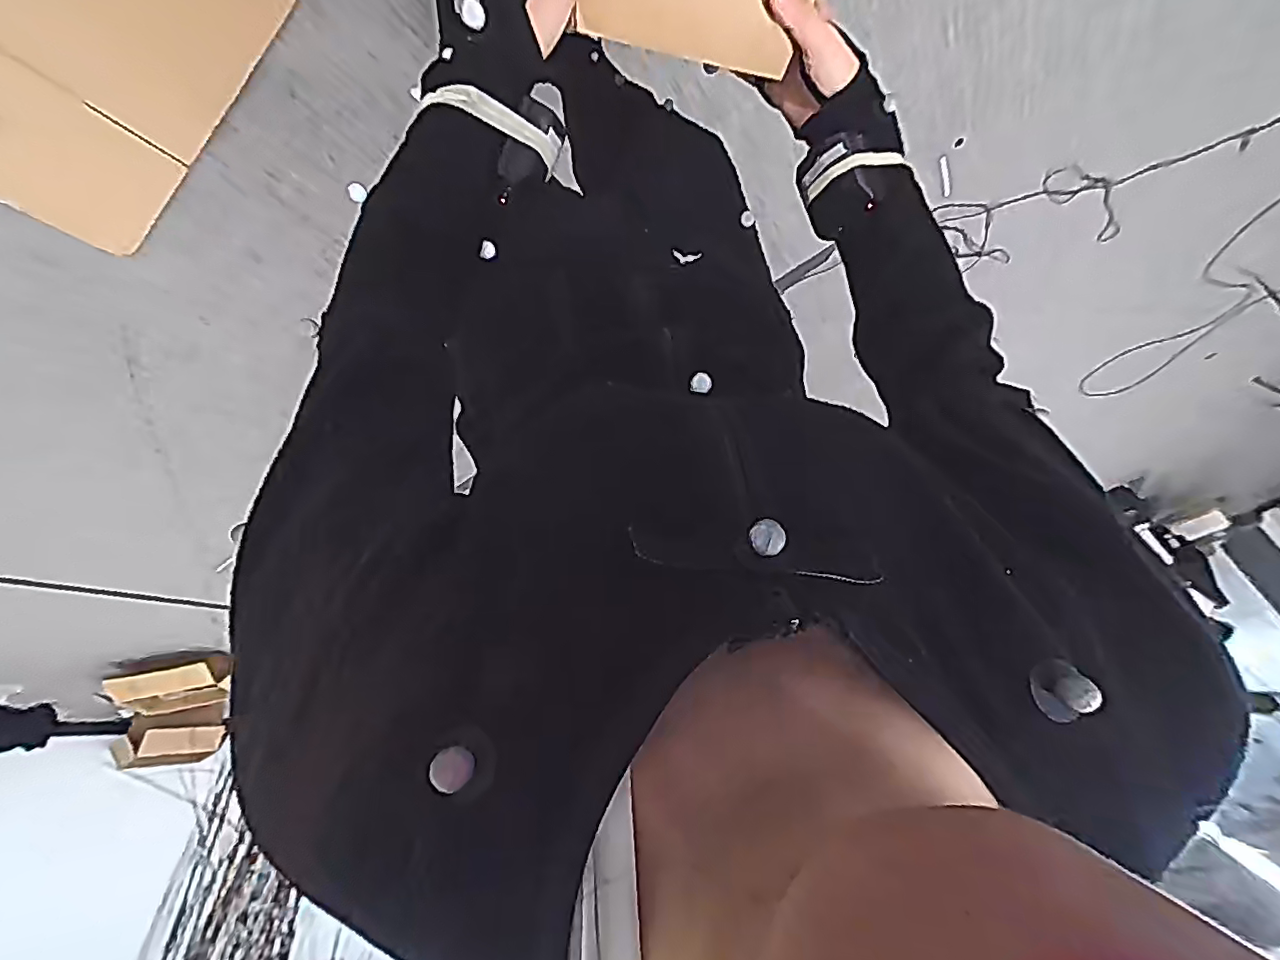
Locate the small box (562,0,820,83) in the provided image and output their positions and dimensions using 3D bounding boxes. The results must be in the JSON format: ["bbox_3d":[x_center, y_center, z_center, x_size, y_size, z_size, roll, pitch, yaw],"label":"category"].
[{"bbox_3d":[0.038,-0.425,0.380,0.179,0.176,0.168,-3,148,-21],"label":"small box"}]

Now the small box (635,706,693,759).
[{"bbox_3d":[0.099,1.062,2.285,0.168,0.176,0.179,-27,148,18],"label":"small box"}]
